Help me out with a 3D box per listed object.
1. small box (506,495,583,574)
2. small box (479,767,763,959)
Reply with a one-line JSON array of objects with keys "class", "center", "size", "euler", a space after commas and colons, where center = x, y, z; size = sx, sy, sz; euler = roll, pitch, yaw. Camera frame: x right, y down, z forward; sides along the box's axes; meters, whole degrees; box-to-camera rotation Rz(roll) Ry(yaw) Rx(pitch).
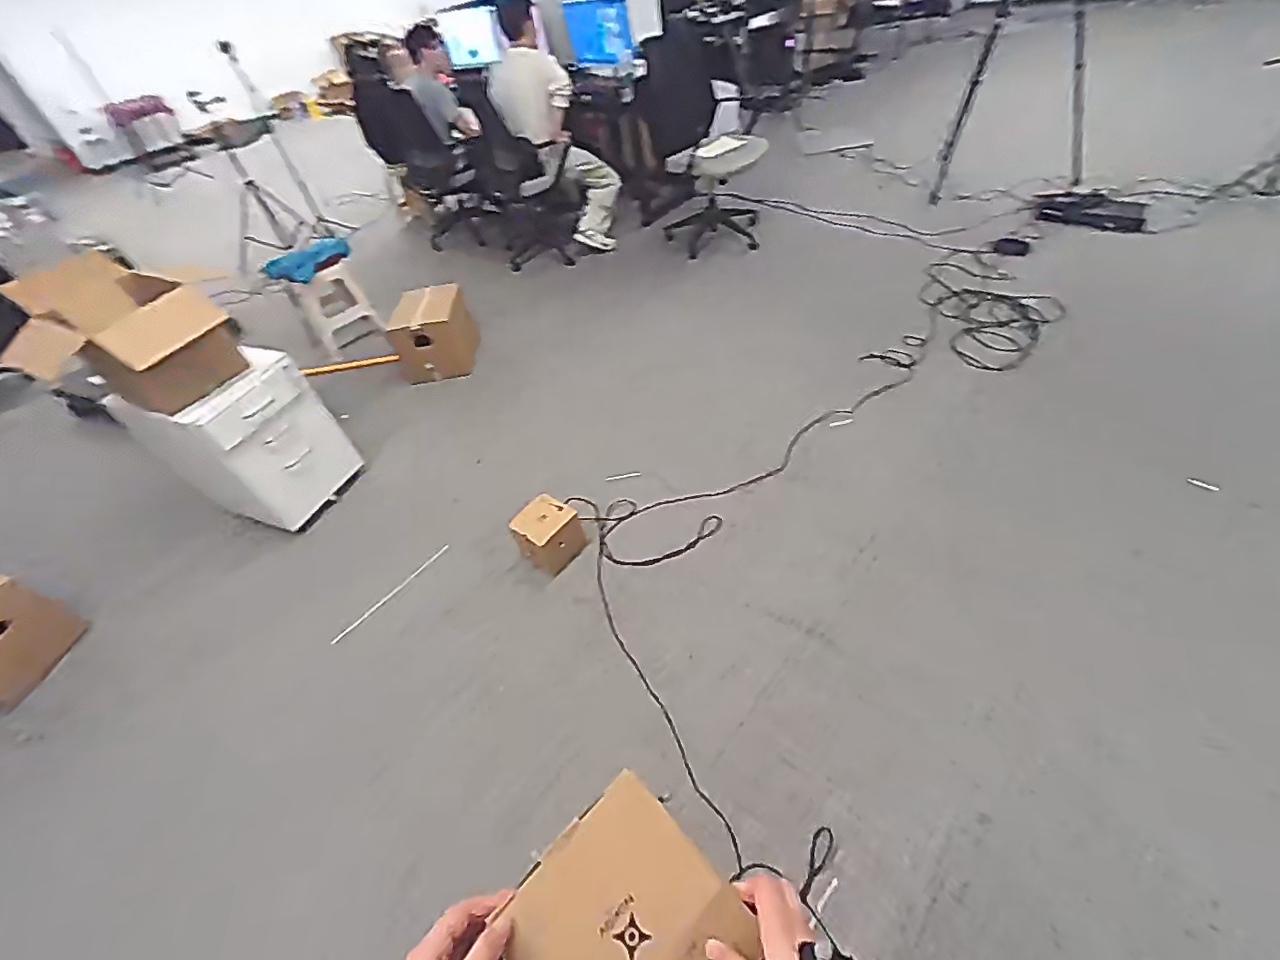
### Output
[{"class": "small box", "center": [-0.317, 0.189, 1.839], "size": [0.168, 0.176, 0.179], "euler": [25, 57, 30]}, {"class": "small box", "center": [-0.016, 0.404, 0.507], "size": [0.168, 0.176, 0.179], "euler": [-41, 69, -19]}]
